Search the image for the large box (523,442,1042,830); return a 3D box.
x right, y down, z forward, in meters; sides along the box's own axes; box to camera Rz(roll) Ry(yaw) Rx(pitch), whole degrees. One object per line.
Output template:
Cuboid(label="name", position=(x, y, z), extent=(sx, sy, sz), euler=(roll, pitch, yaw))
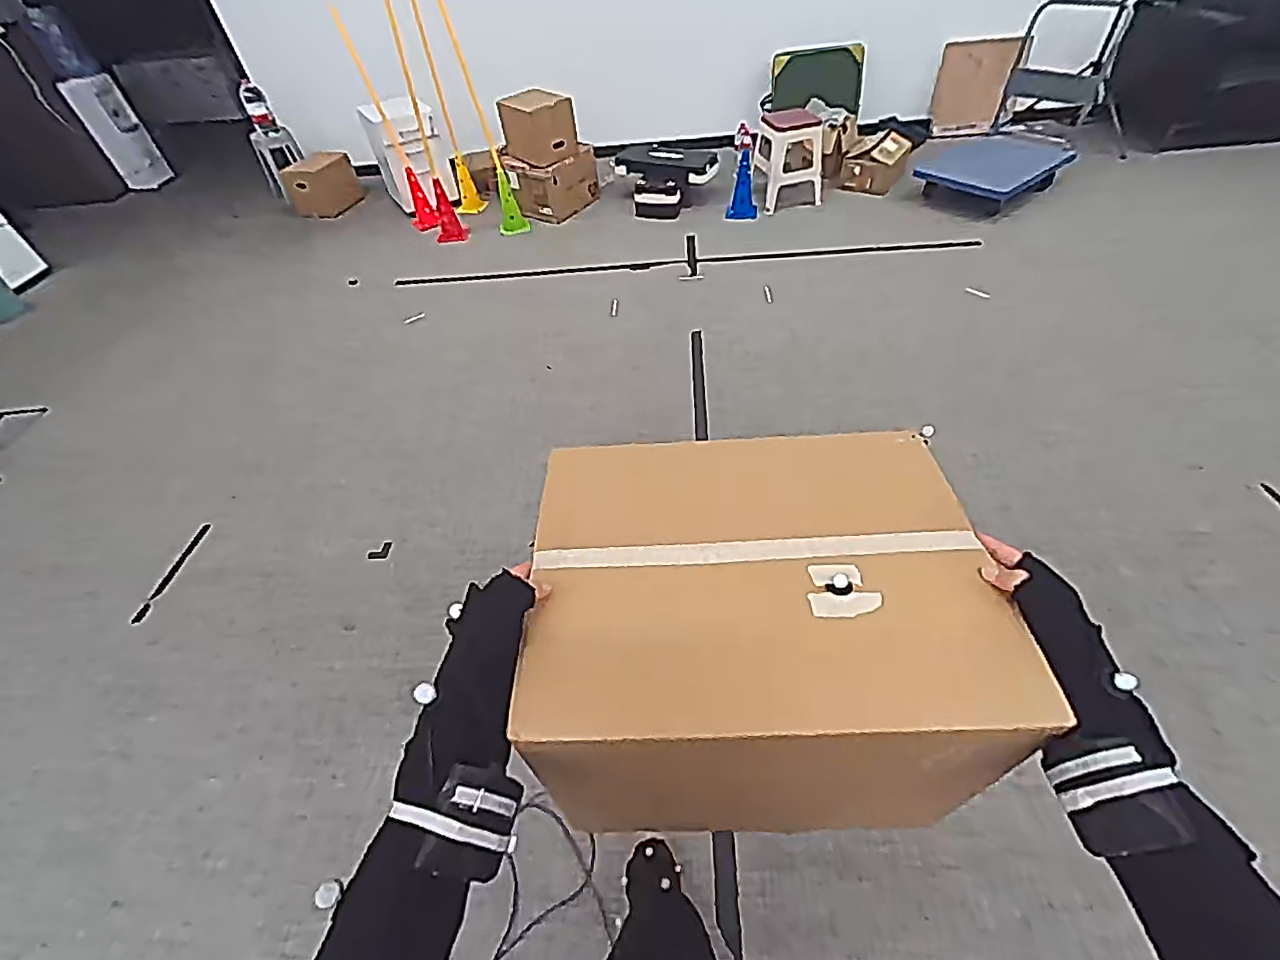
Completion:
Cuboid(label="large box", position=(0.111, 0.181, 0.617), extent=(0.408, 0.320, 0.320), euler=(-3, 46, 3))
